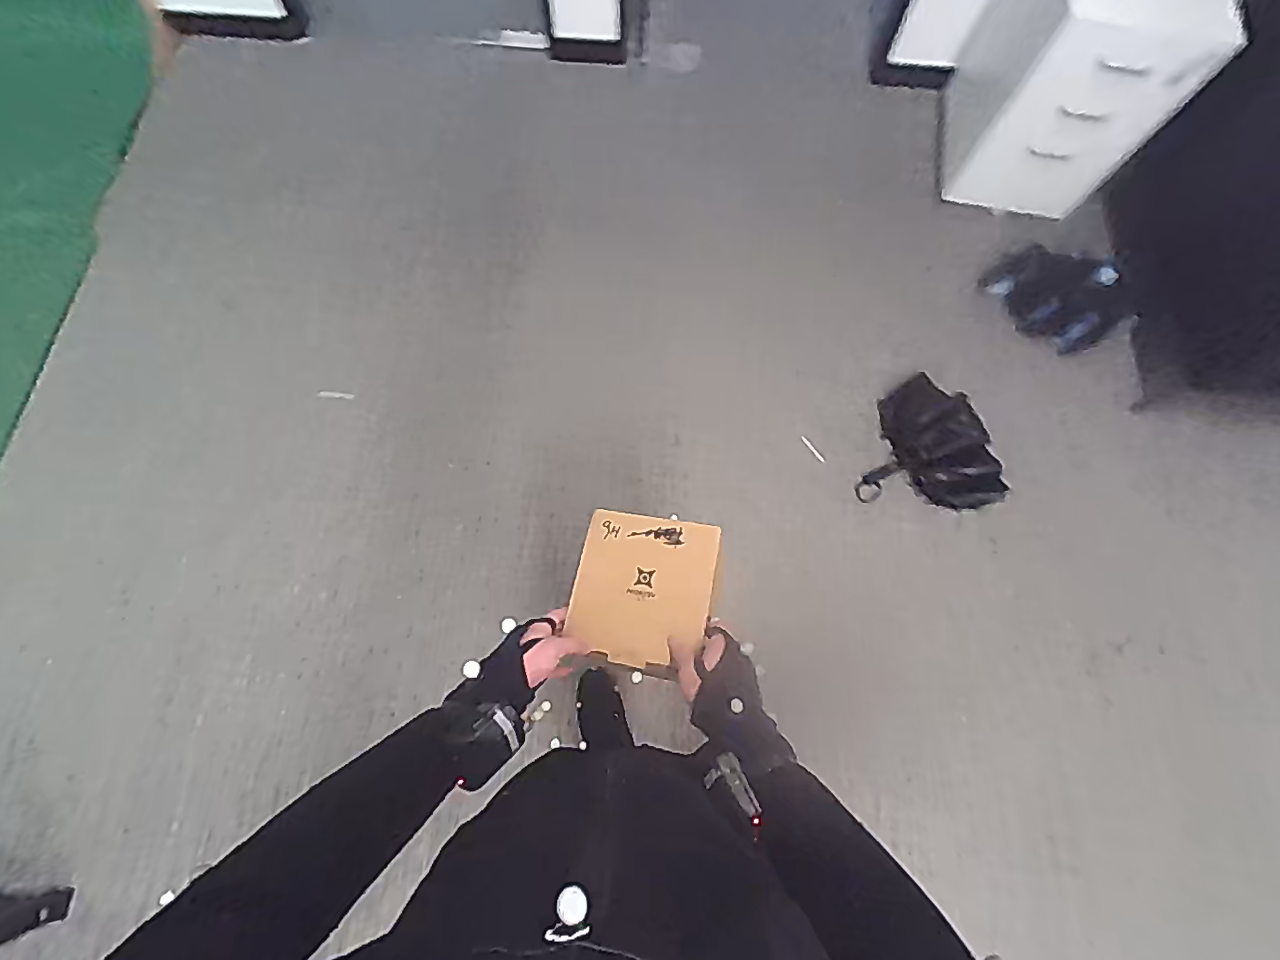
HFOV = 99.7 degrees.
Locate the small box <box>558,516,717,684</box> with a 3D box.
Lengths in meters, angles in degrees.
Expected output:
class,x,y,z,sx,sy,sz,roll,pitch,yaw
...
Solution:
class,x,y,z,sx,sy,sz,roll,pitch,yaw
small box,0.010,0.165,0.719,0.168,0.176,0.179,7,68,12
